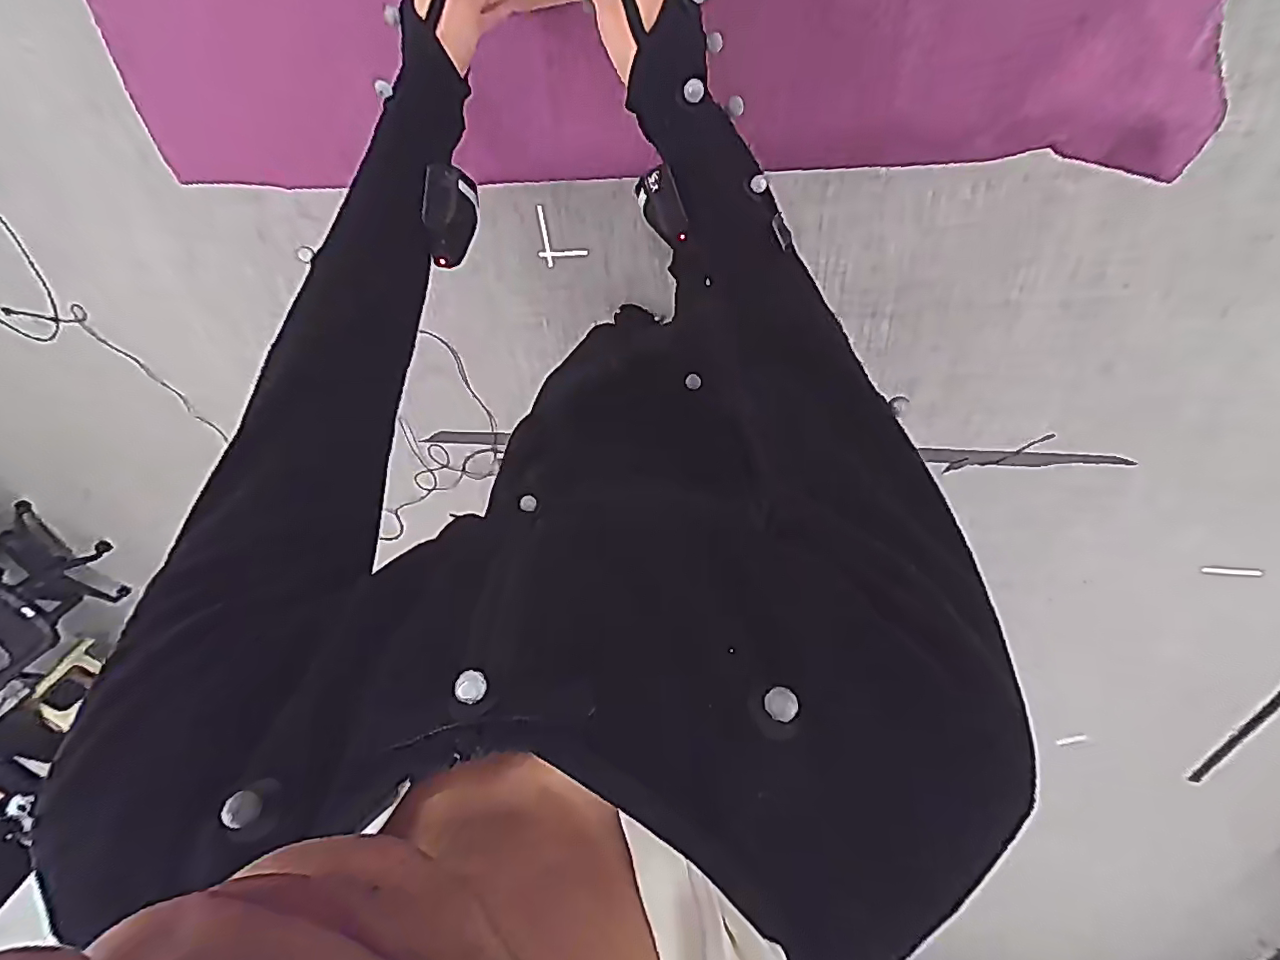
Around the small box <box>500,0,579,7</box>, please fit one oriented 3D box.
[{"bbox_3d":[-0.067,-0.529,0.458,0.179,0.176,0.168,-1,125,11],"label":"small box"}]
